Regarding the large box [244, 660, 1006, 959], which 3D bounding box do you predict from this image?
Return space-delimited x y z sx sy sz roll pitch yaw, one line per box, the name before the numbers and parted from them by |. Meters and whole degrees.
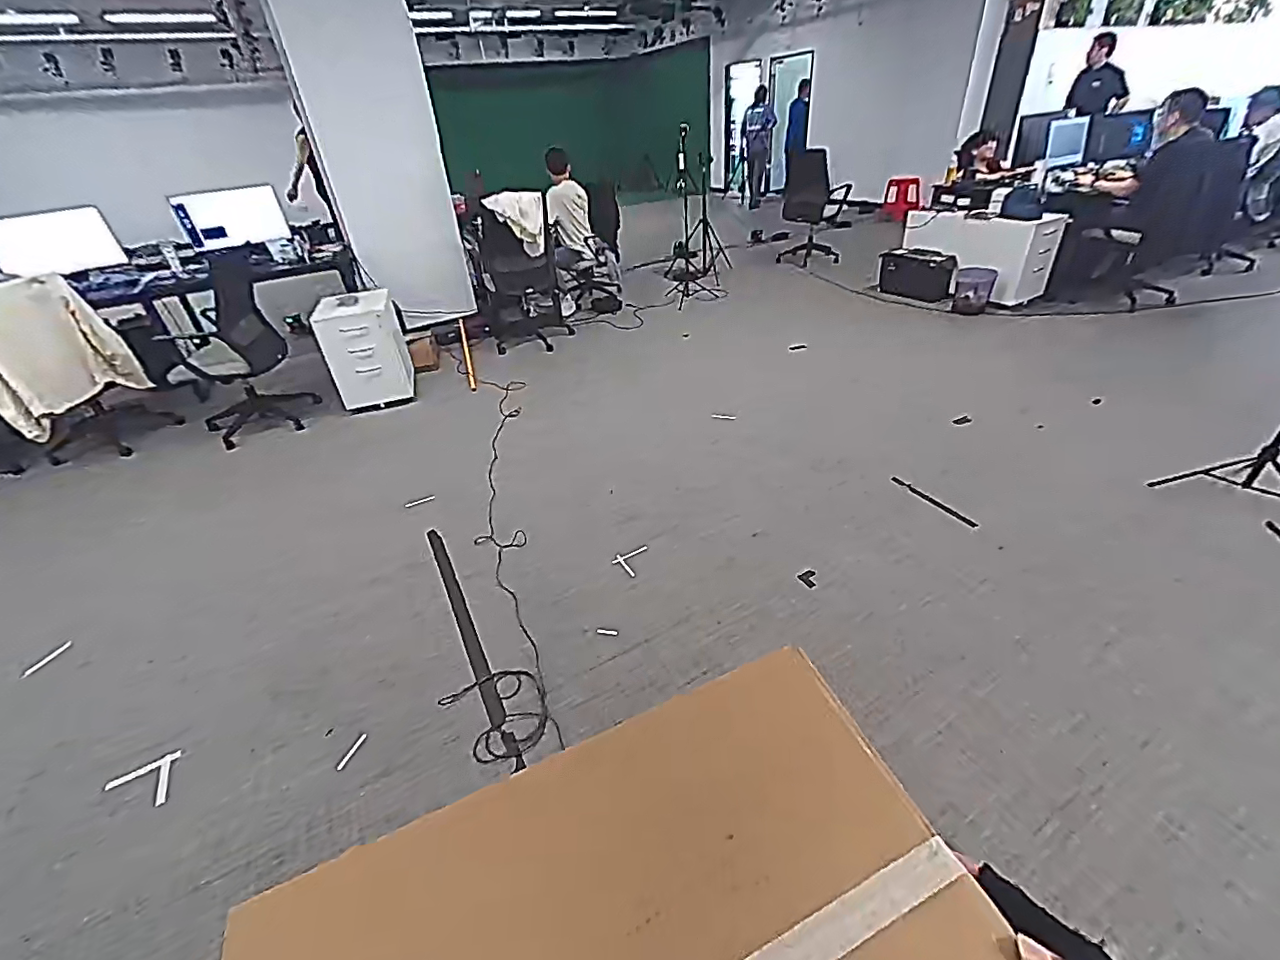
large box | 0.013 0.405 0.380 0.408 0.320 0.320 -20 44 -14
